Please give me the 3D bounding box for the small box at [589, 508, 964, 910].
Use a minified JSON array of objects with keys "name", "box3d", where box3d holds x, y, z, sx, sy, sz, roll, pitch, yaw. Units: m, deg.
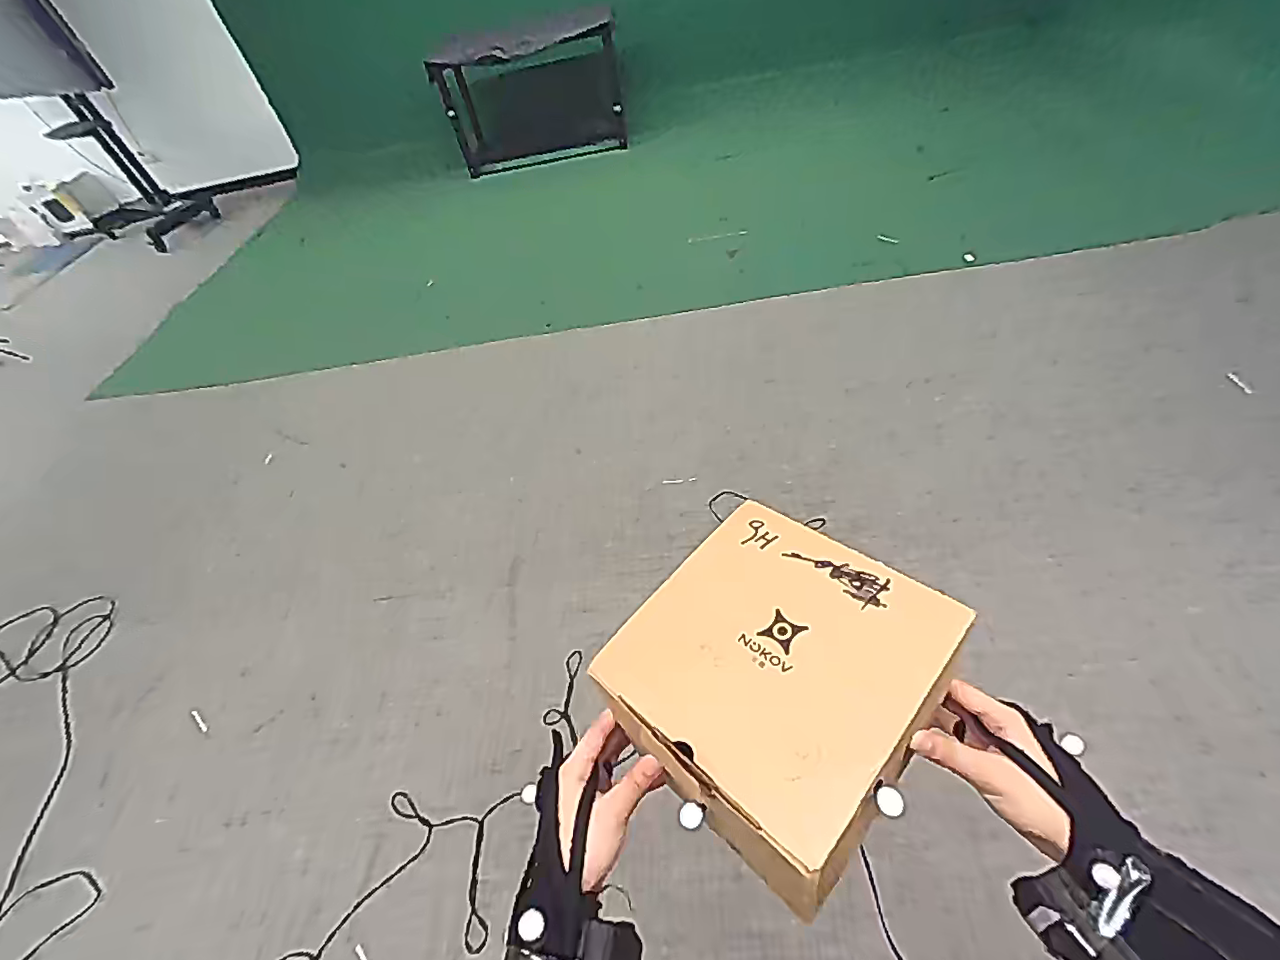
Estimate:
[{"name":"small box","box3d":[0.097,0.160,0.389,0.168,0.176,0.179,29,61,37]}]
